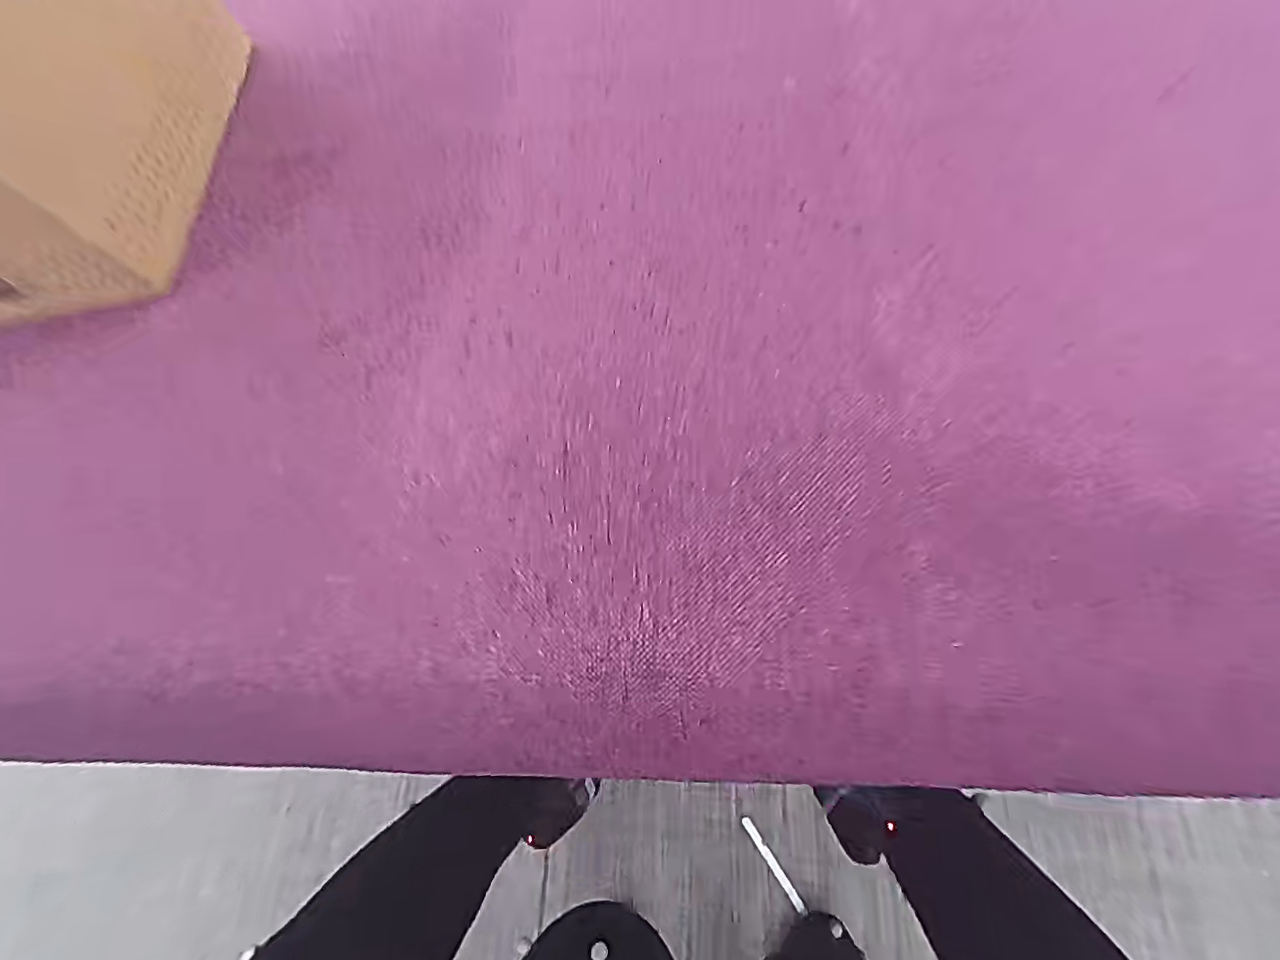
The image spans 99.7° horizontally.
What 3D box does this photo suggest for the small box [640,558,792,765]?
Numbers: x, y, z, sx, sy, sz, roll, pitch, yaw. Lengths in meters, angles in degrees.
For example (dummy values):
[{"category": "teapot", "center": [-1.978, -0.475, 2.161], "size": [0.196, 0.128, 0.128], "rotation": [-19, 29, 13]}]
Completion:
[{"category": "small box", "center": [0.095, 0.225, 0.687], "size": [0.168, 0.176, 0.179], "rotation": [6, 26, 9]}]
